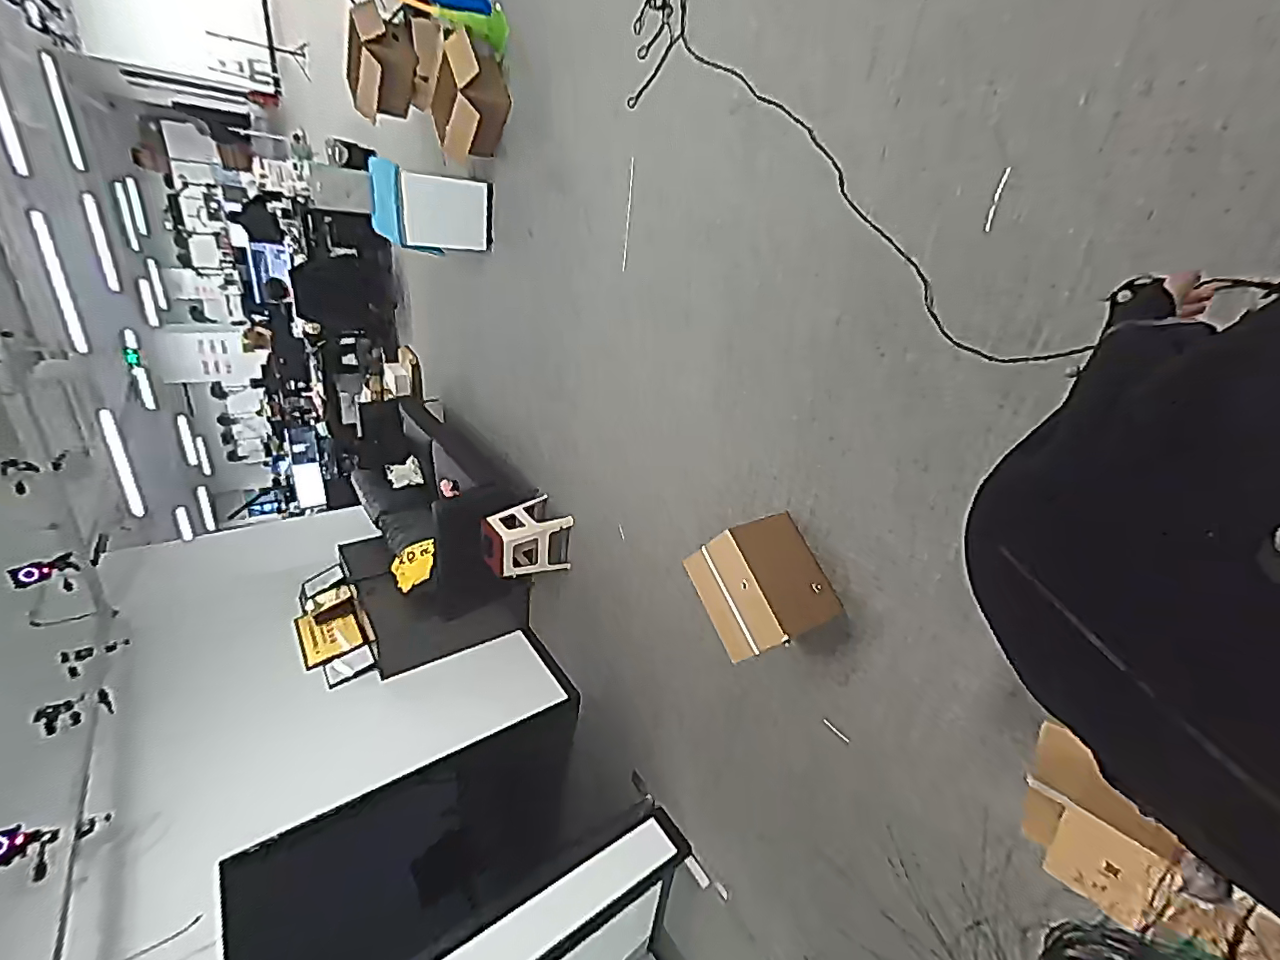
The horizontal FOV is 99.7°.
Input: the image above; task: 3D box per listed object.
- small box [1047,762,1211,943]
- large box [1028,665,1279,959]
[{"bbox_3d":[0.884,0.657,0.978,0.168,0.176,0.179,26,120,49],"label":"small box"},{"bbox_3d":[1.098,0.647,1.109,0.408,0.320,0.320,17,115,50],"label":"large box"}]
